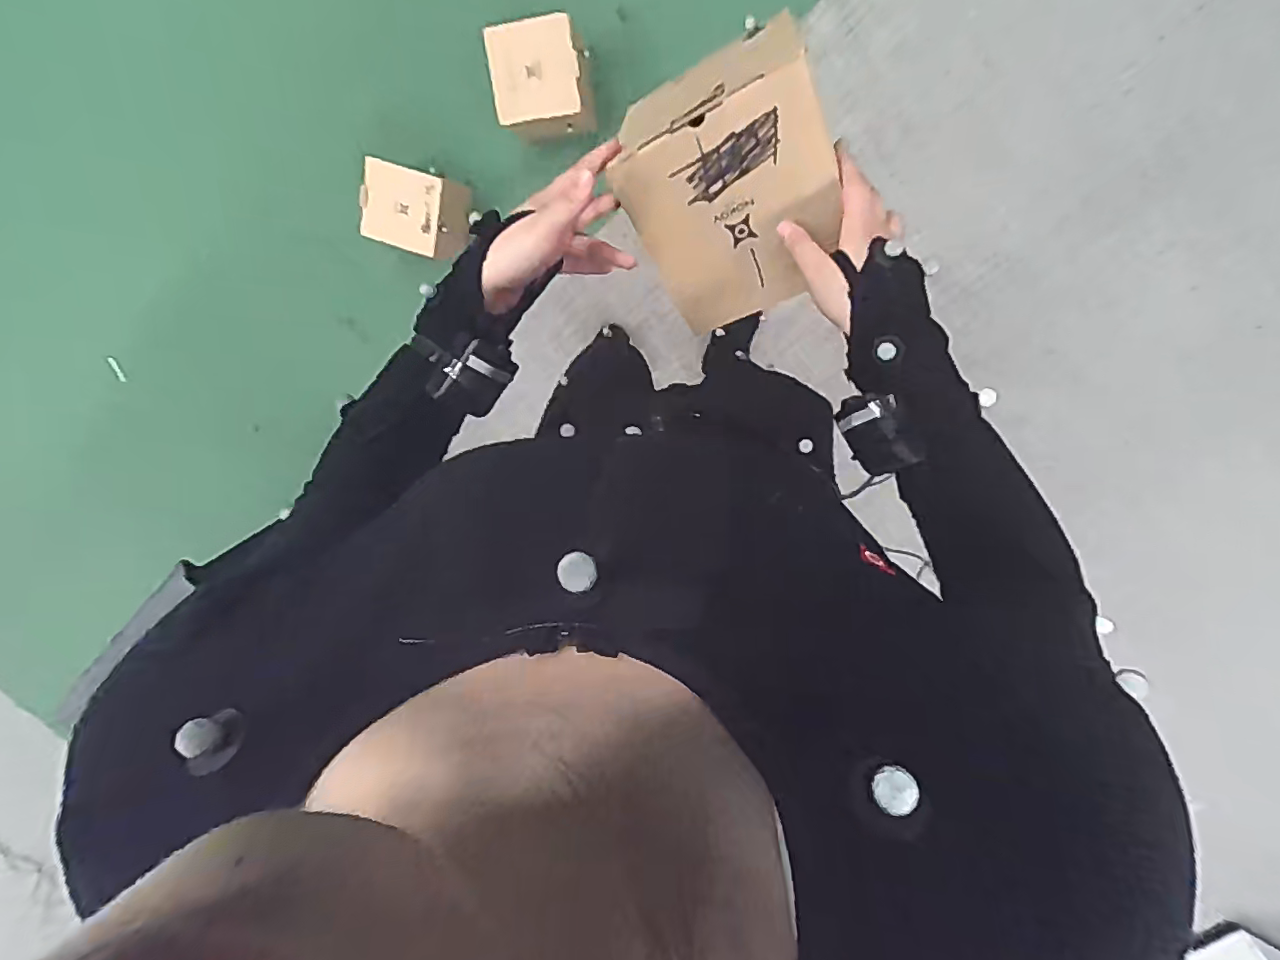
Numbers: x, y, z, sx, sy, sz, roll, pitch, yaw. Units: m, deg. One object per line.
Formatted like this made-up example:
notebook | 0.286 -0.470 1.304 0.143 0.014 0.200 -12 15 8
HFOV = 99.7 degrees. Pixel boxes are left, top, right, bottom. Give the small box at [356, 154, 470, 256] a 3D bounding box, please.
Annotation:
small box | -0.521 -0.626 1.253 0.179 0.176 0.168 18 113 0

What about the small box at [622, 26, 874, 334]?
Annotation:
small box | 0.101 -0.276 0.502 0.168 0.176 0.179 -16 135 25

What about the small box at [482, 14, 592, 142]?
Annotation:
small box | -0.203 -0.827 1.129 0.179 0.176 0.168 -3 111 9
